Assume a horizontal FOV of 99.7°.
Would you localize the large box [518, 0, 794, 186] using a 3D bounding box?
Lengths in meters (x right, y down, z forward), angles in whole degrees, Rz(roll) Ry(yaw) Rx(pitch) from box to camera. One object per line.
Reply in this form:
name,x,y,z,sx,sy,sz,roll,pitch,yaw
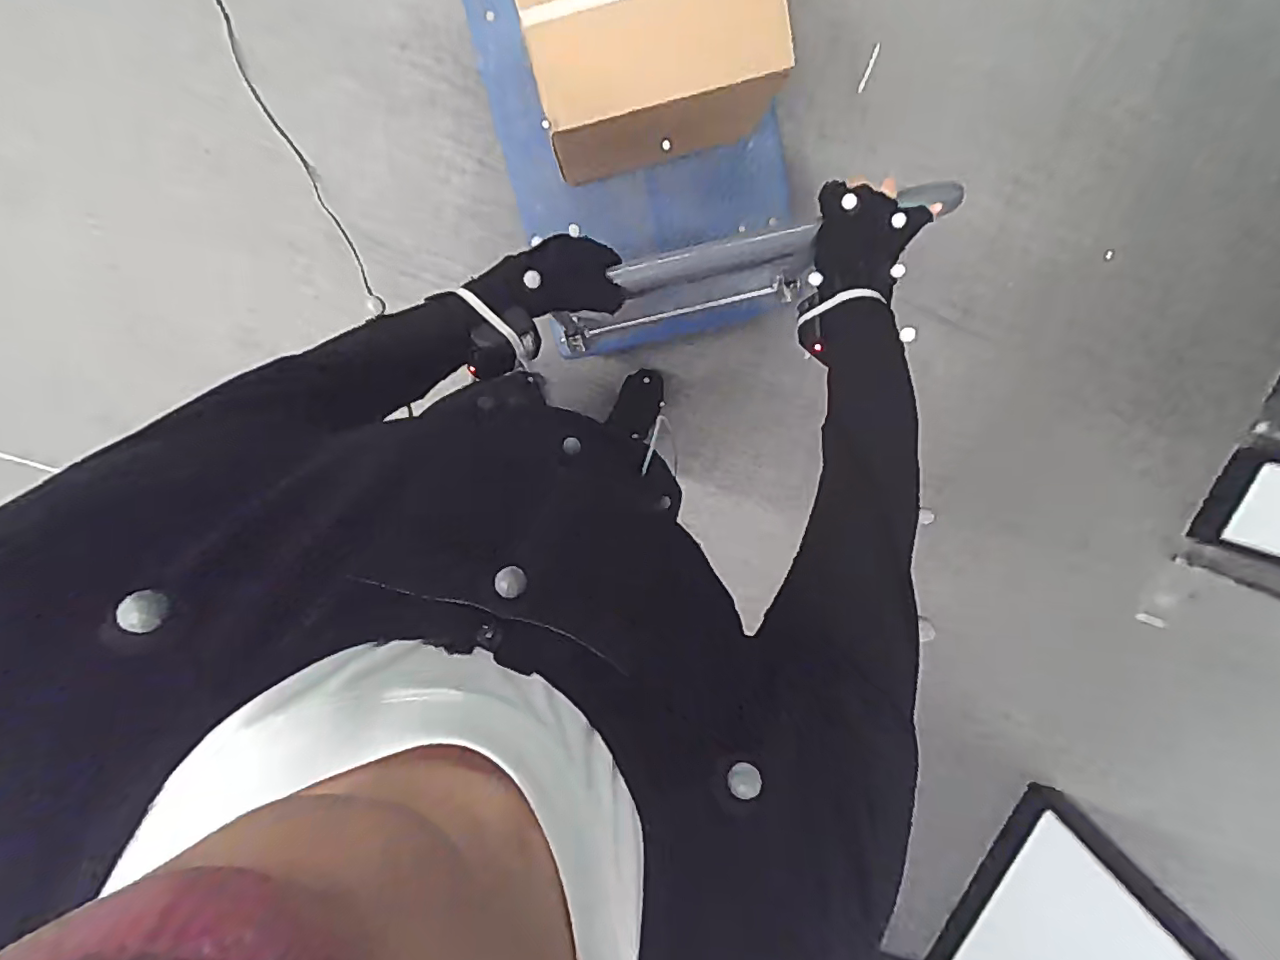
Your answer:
large box,0.014,-0.785,0.979,0.408,0.320,0.320,-15,104,2
